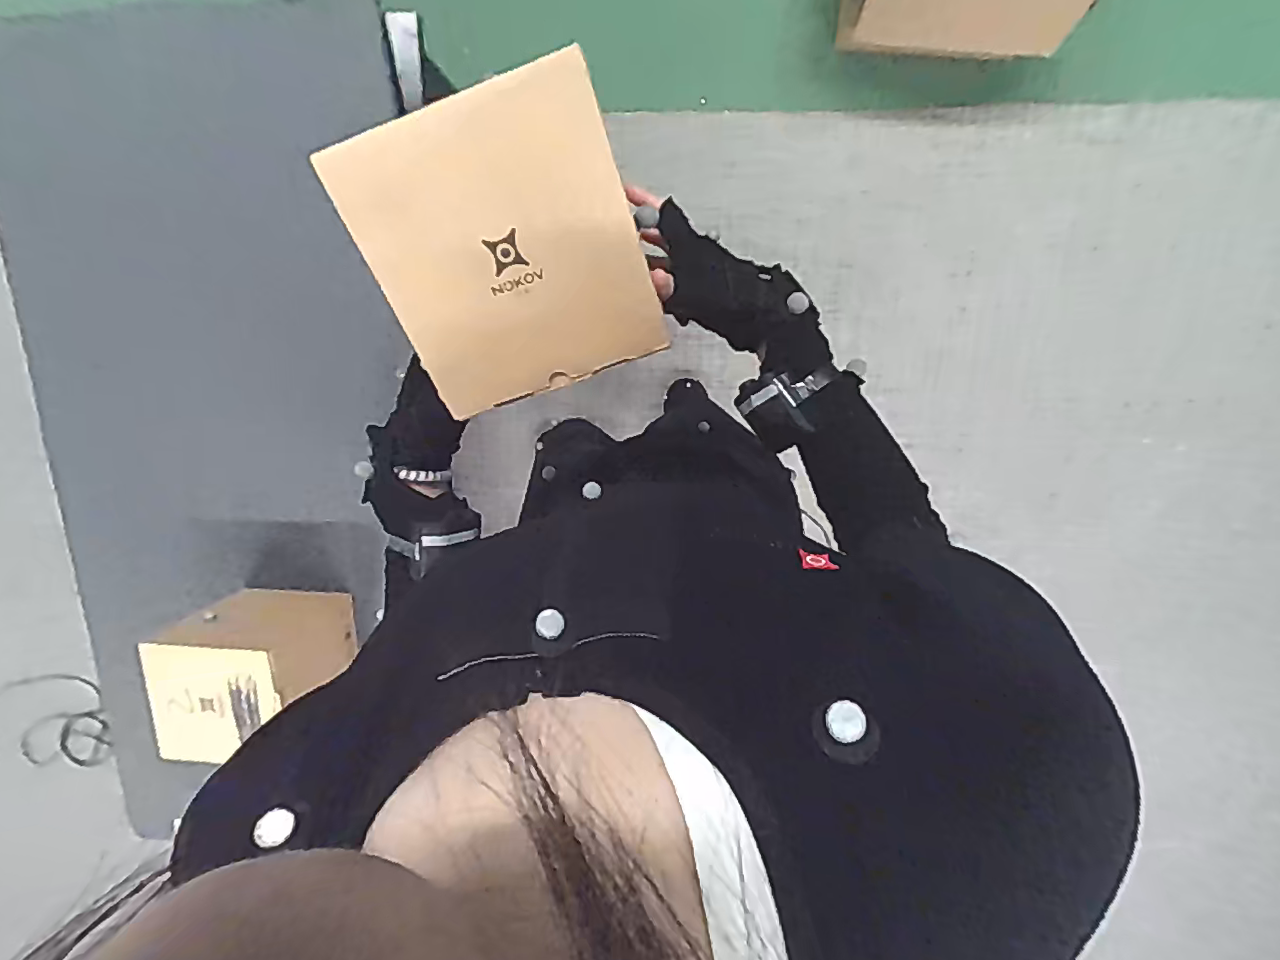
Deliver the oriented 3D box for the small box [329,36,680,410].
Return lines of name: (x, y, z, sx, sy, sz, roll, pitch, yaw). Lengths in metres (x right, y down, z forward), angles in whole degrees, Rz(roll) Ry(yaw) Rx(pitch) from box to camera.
small box: (-0.080, -0.183, 0.405, 0.168, 0.176, 0.179, -18, 121, 6)
